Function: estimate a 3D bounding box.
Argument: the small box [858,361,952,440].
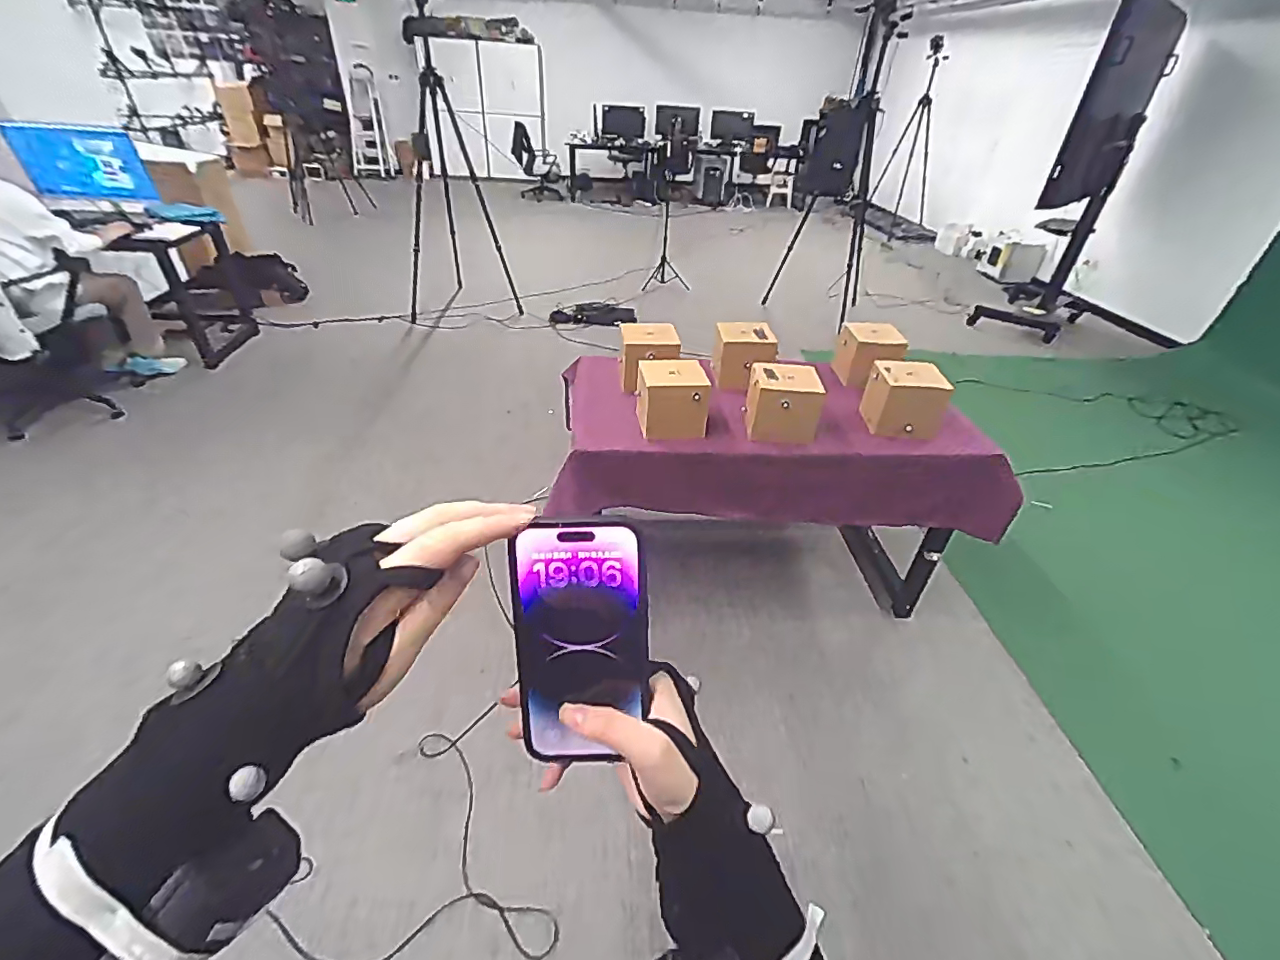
[{"bbox_3d":[0.769,-0.231,1.587,0.179,0.176,0.168,5,36,1],"label":"small box"}]

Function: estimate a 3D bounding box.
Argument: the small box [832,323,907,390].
[{"bbox_3d":[0.770,-0.419,1.838,0.168,0.176,0.179,2,37,-1],"label":"small box"}]

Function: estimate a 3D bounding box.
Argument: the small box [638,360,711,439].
[{"bbox_3d":[0.089,-0.226,1.525,0.179,0.176,0.168,-2,37,-9],"label":"small box"}]

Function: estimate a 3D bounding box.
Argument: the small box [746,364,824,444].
[{"bbox_3d":[0.402,-0.215,1.535,0.179,0.176,0.168,5,37,0],"label":"small box"}]
